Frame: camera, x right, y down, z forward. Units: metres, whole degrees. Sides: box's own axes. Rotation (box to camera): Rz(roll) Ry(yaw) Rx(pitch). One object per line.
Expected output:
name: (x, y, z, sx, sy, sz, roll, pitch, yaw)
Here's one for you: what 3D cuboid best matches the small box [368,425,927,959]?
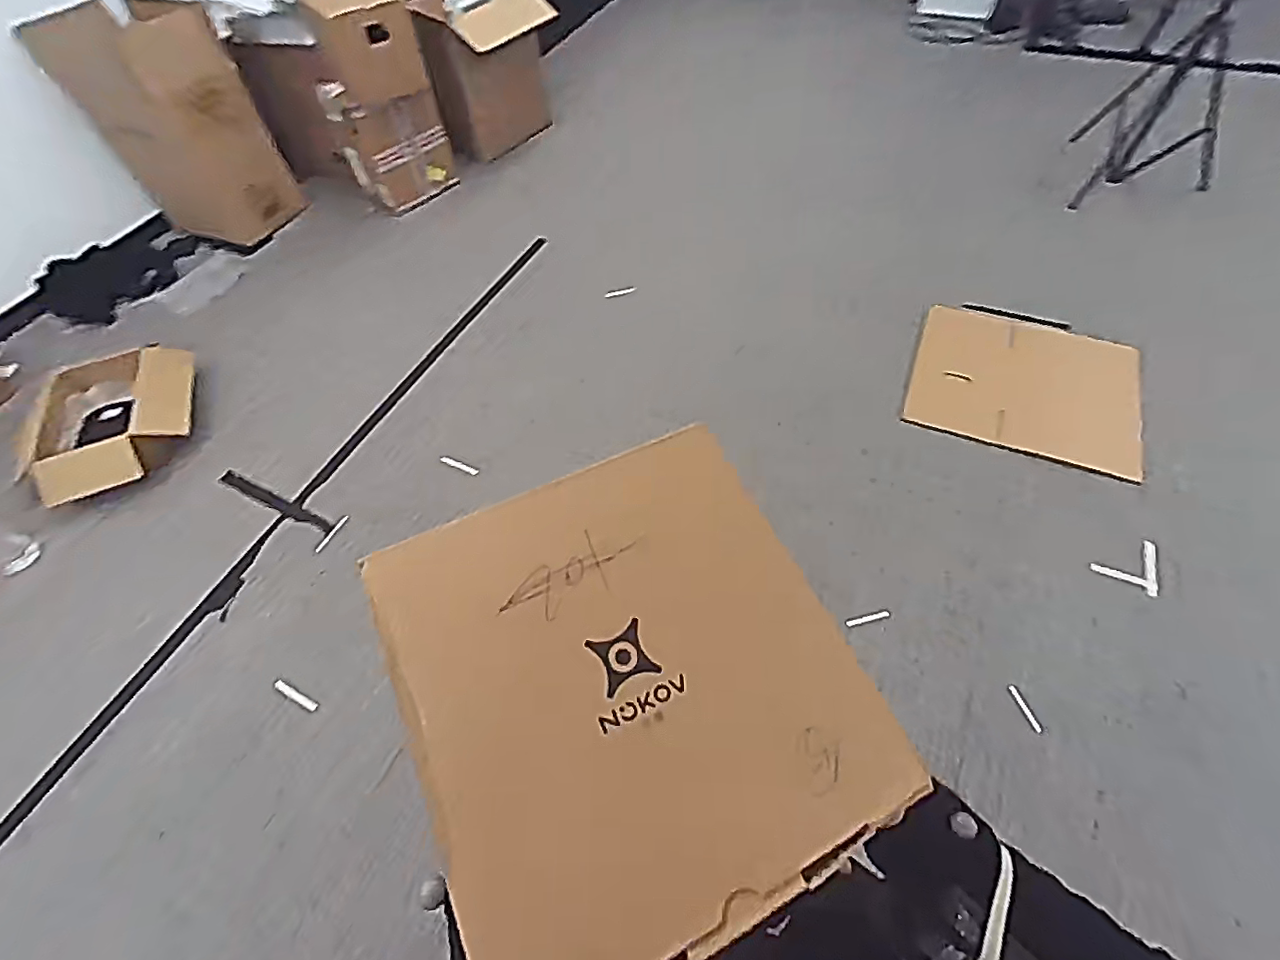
small box: (-0.007, 0.108, 0.280, 0.168, 0.176, 0.179, -23, 65, -15)
